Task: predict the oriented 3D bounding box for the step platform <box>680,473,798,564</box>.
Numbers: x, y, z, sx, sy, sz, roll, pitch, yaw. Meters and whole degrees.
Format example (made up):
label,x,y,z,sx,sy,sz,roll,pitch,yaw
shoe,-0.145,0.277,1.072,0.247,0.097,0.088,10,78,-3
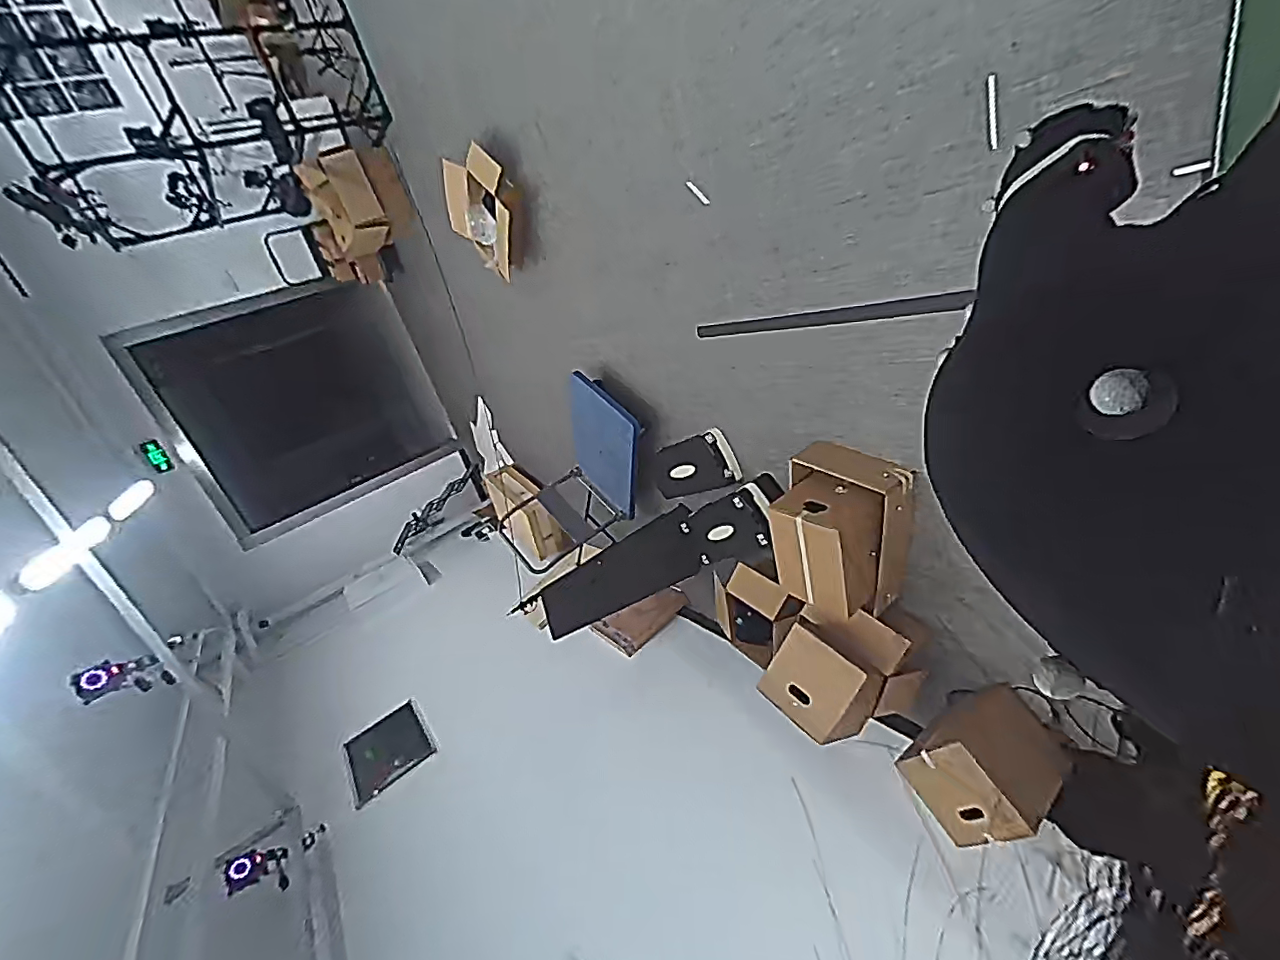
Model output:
label,x,y,z,sx,sy,sz,roll,pitch,yaw
step platform,0.460,0.212,2.680,0.286,0.204,0.684,57,152,4
